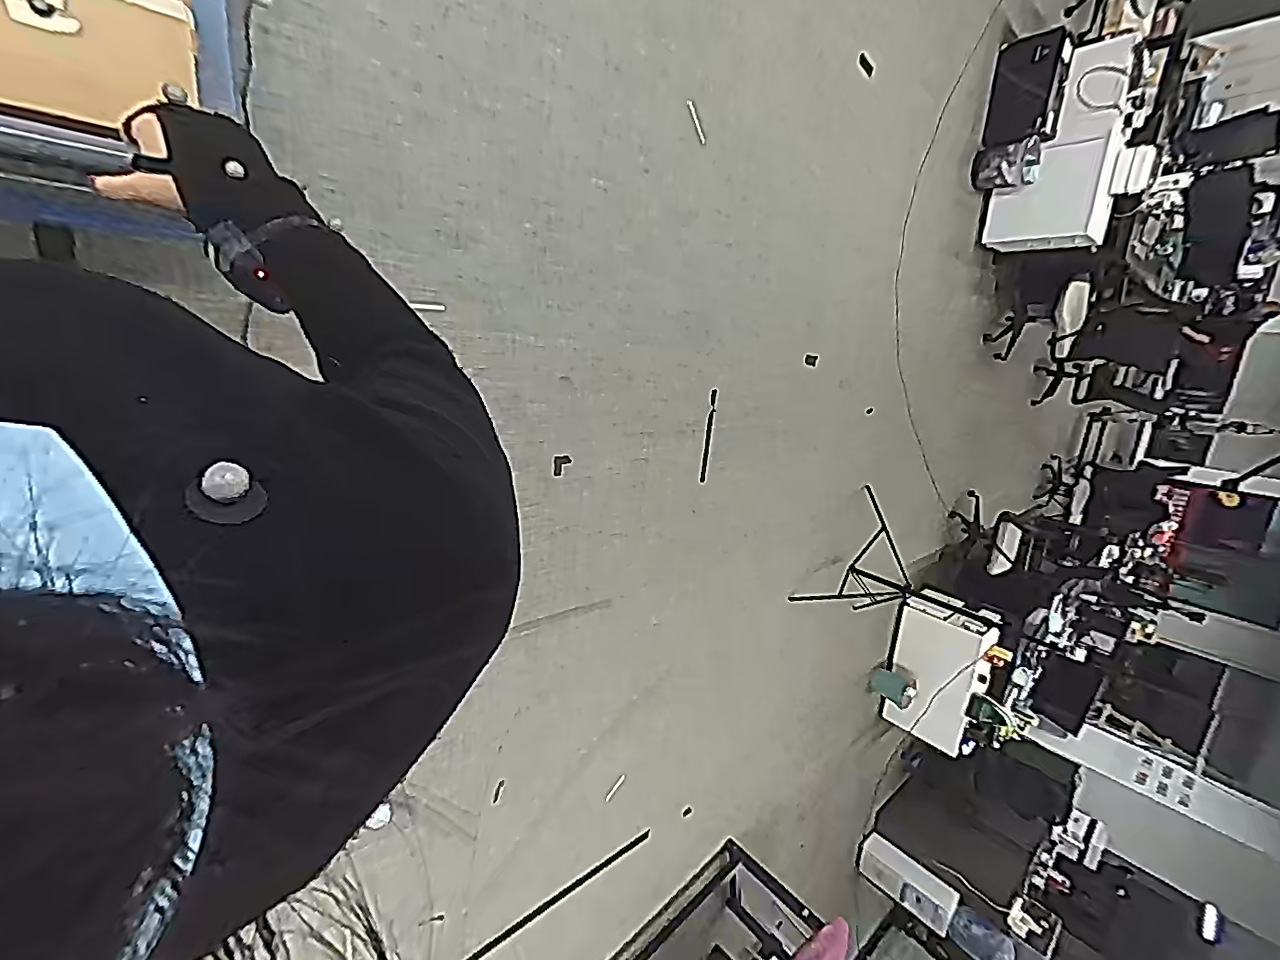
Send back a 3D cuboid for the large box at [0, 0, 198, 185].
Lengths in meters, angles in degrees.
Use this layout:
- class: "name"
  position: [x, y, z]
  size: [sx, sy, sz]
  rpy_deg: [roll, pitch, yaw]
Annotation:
- class: "large box"
  position: [-0.839, -0.601, 0.673]
  size: [0.408, 0.320, 0.320]
  rpy_deg: [-9, 110, -41]
